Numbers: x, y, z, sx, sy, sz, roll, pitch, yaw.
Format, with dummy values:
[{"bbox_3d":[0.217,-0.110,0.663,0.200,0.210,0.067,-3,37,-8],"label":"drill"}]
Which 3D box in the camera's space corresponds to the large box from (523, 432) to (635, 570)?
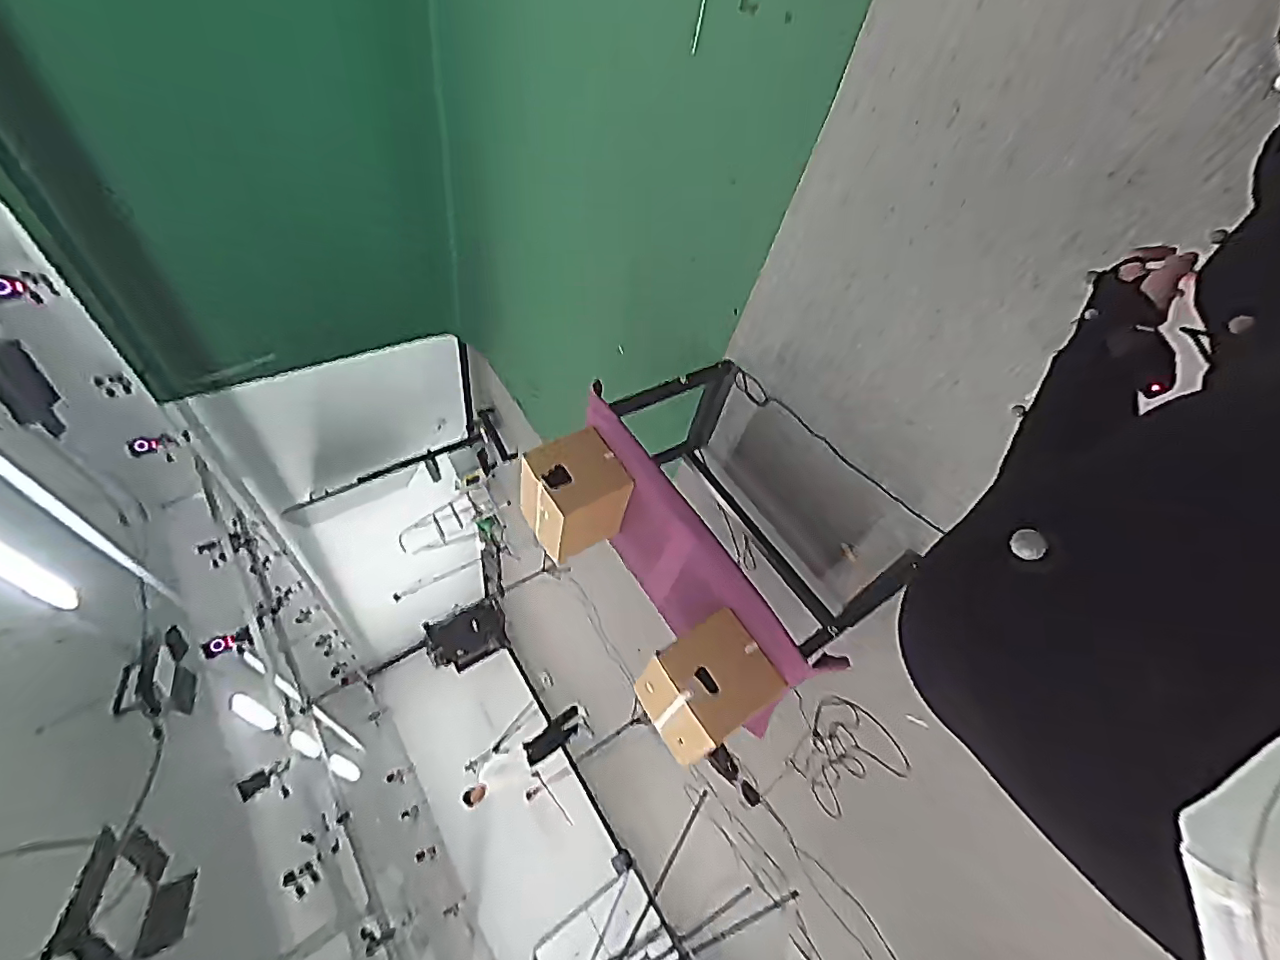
[{"bbox_3d":[-0.253,0.085,2.143,0.320,0.320,0.408,51,149,22],"label":"large box"}]
